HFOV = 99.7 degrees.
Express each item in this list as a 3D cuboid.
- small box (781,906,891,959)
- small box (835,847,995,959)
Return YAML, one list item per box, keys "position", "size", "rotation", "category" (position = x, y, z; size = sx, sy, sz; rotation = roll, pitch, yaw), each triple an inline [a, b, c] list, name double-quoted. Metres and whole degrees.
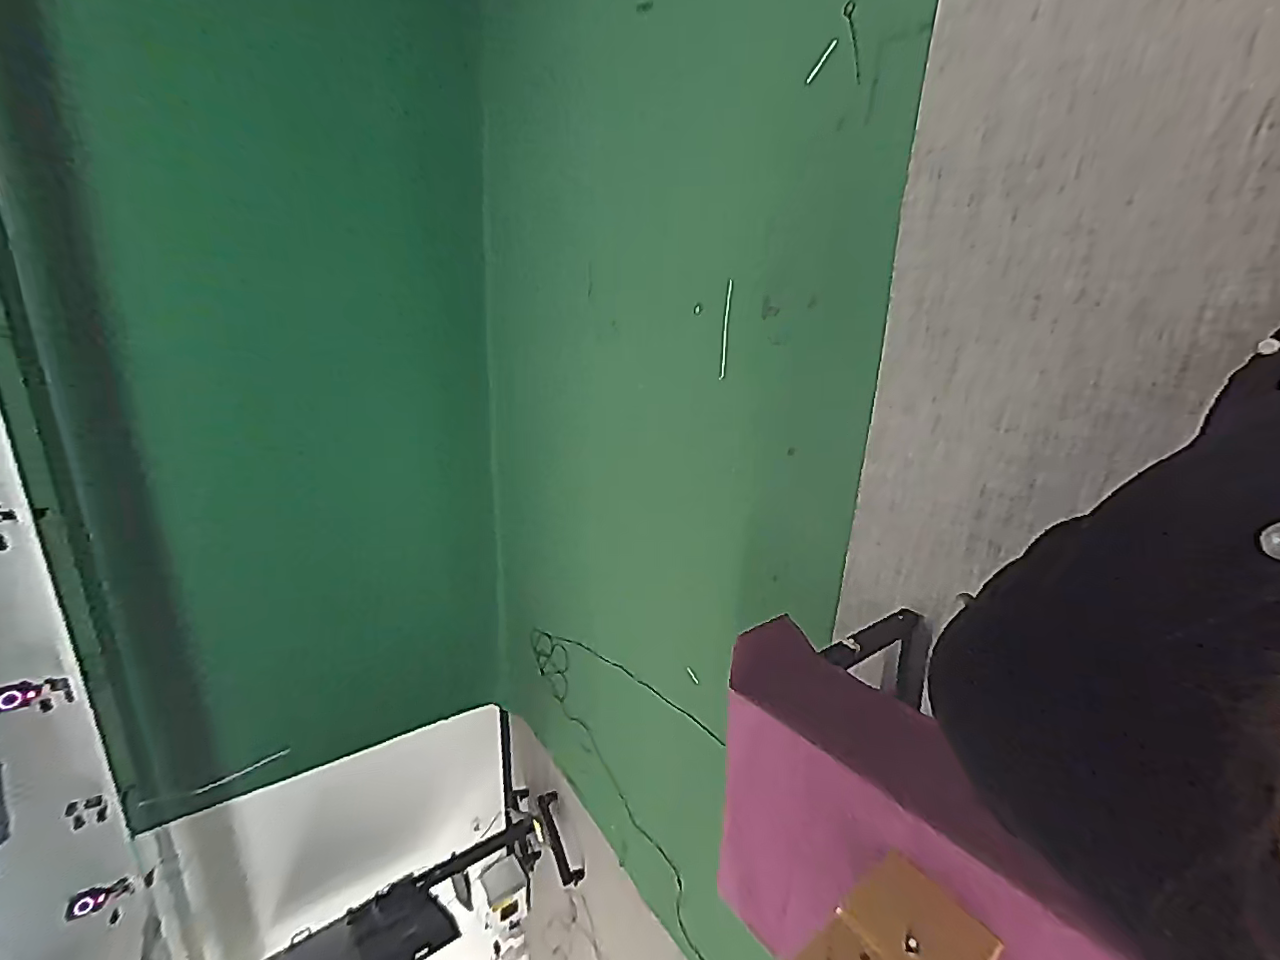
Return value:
- position: [0.290, 0.774, 0.773]
  size: [0.168, 0.176, 0.179]
  rotation: [28, 121, 50]
  category: "small box"
- position: [0.424, 0.743, 0.861]
  size: [0.179, 0.176, 0.168]
  rotation: [28, 120, 50]
  category: "small box"
